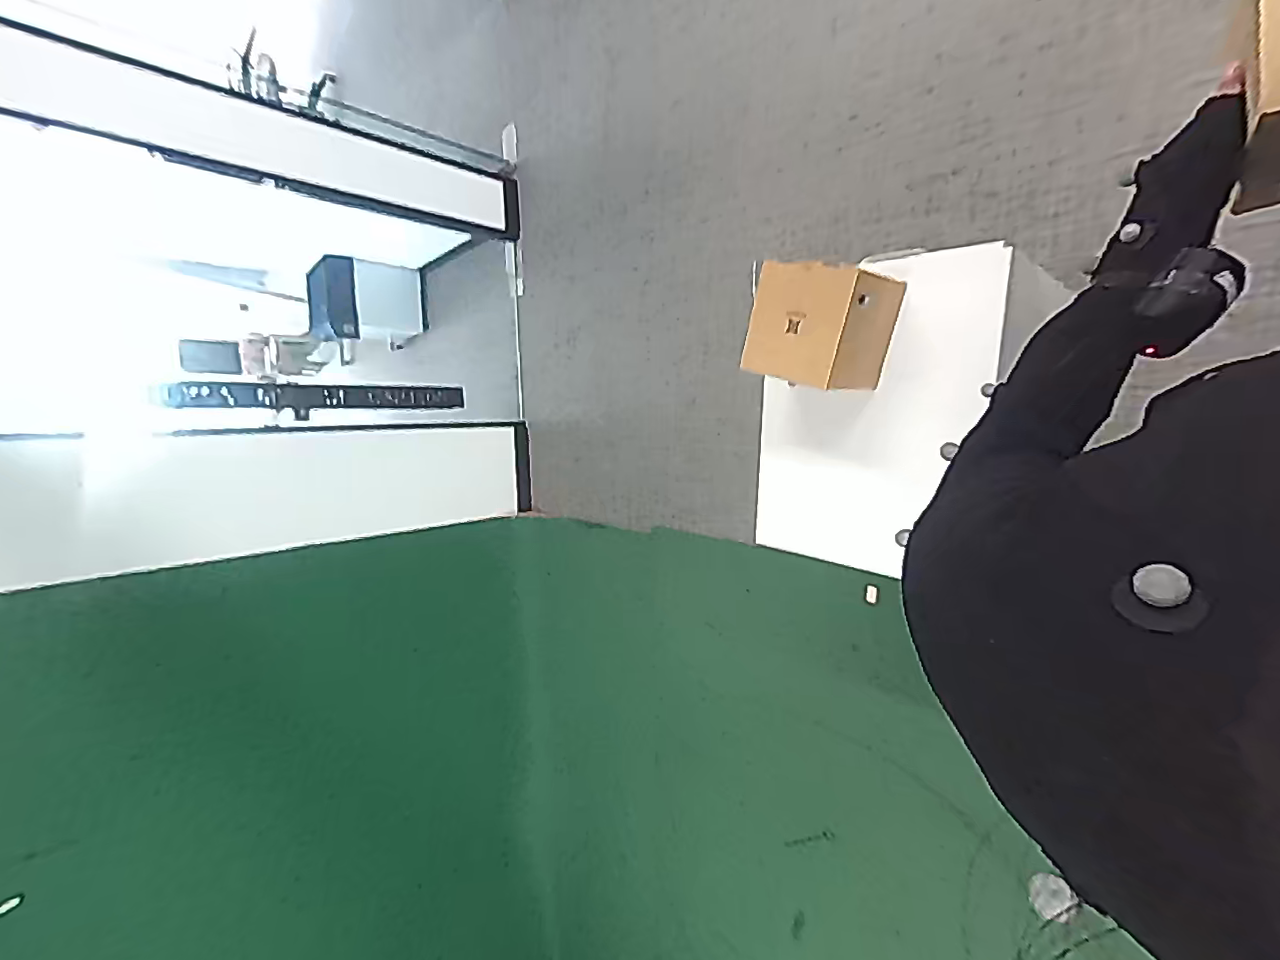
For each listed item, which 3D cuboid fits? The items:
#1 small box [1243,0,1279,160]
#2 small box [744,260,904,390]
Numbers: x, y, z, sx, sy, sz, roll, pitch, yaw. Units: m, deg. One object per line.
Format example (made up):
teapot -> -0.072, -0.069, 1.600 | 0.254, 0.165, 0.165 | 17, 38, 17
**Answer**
small box -> 0.469, -0.320, 0.305 | 0.168, 0.176, 0.179 | -1, 99, 46
small box -> 0.299, -0.247, 0.878 | 0.168, 0.176, 0.179 | 27, 114, 43
